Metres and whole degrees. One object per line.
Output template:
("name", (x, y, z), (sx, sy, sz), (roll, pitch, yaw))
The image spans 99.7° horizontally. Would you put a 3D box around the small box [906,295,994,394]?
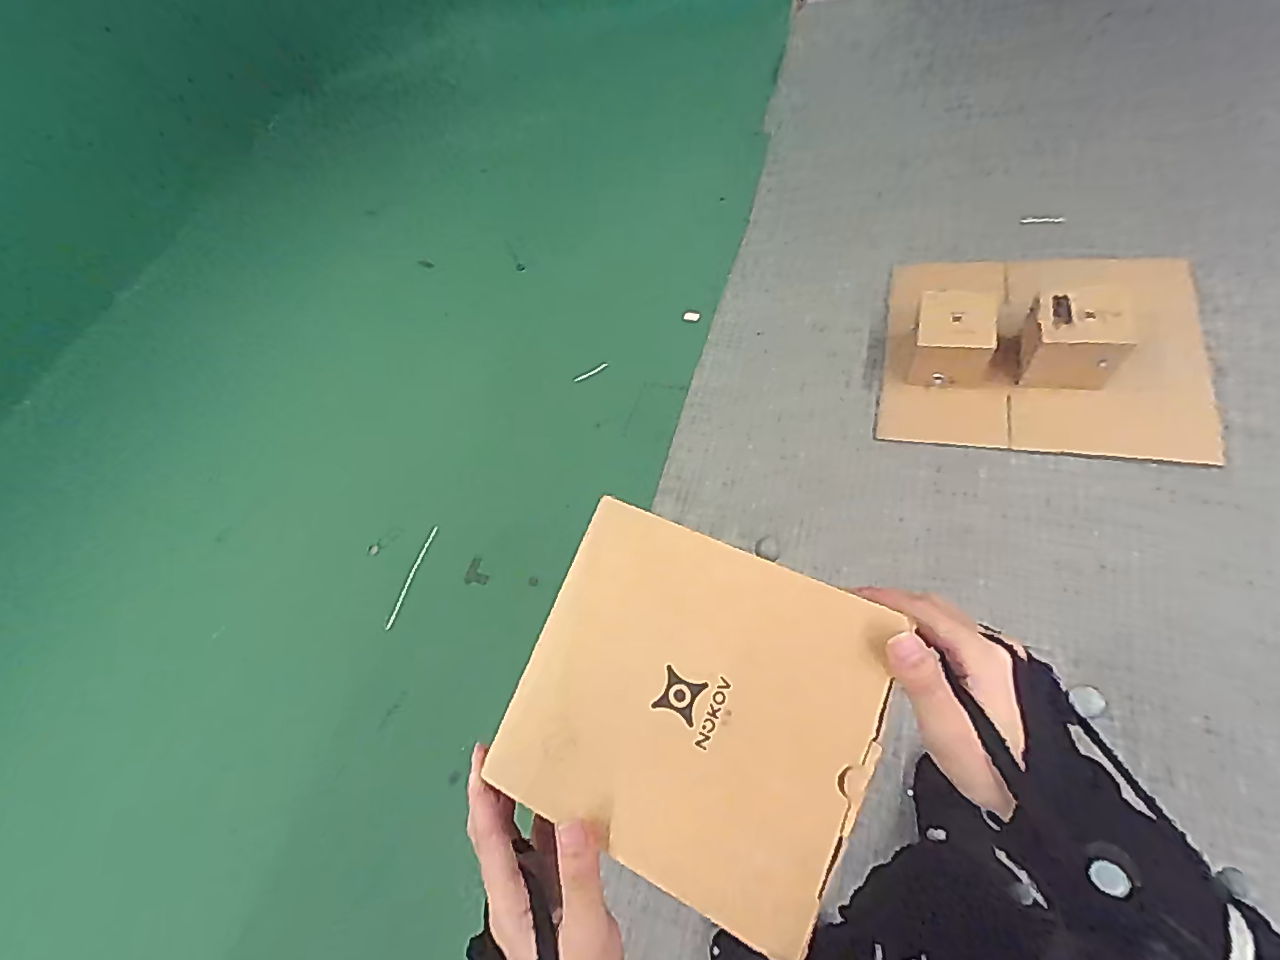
("small box", (0.780, -0.343, 1.370), (0.168, 0.176, 0.179), (7, 67, 21))
